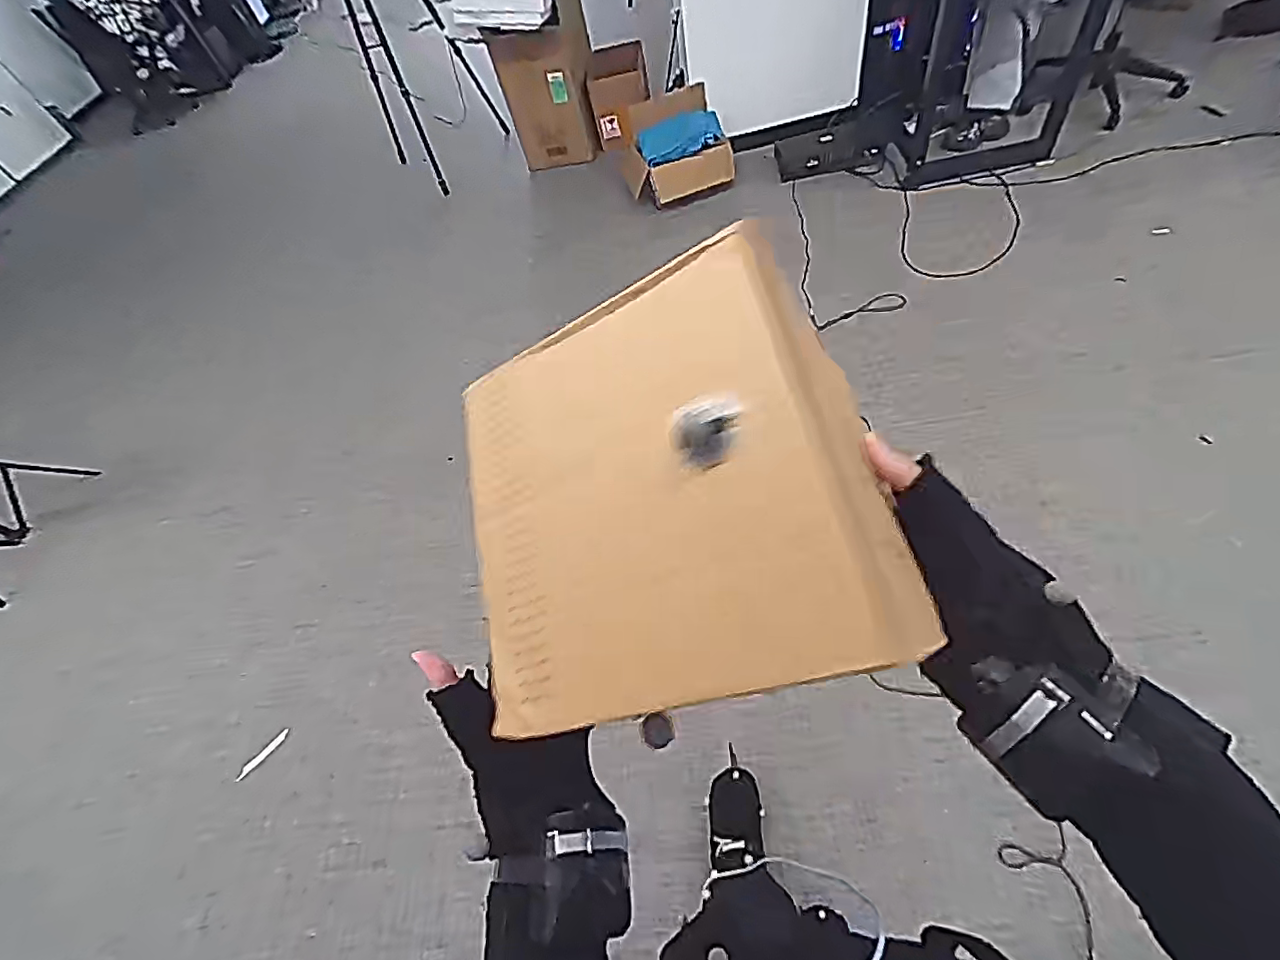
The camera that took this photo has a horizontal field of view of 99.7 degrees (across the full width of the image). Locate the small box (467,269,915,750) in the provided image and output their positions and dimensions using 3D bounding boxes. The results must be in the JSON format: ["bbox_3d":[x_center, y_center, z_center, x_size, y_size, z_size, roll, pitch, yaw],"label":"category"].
[{"bbox_3d":[0.023,0.031,0.302,0.176,0.168,0.179,-25,65,28],"label":"small box"}]
